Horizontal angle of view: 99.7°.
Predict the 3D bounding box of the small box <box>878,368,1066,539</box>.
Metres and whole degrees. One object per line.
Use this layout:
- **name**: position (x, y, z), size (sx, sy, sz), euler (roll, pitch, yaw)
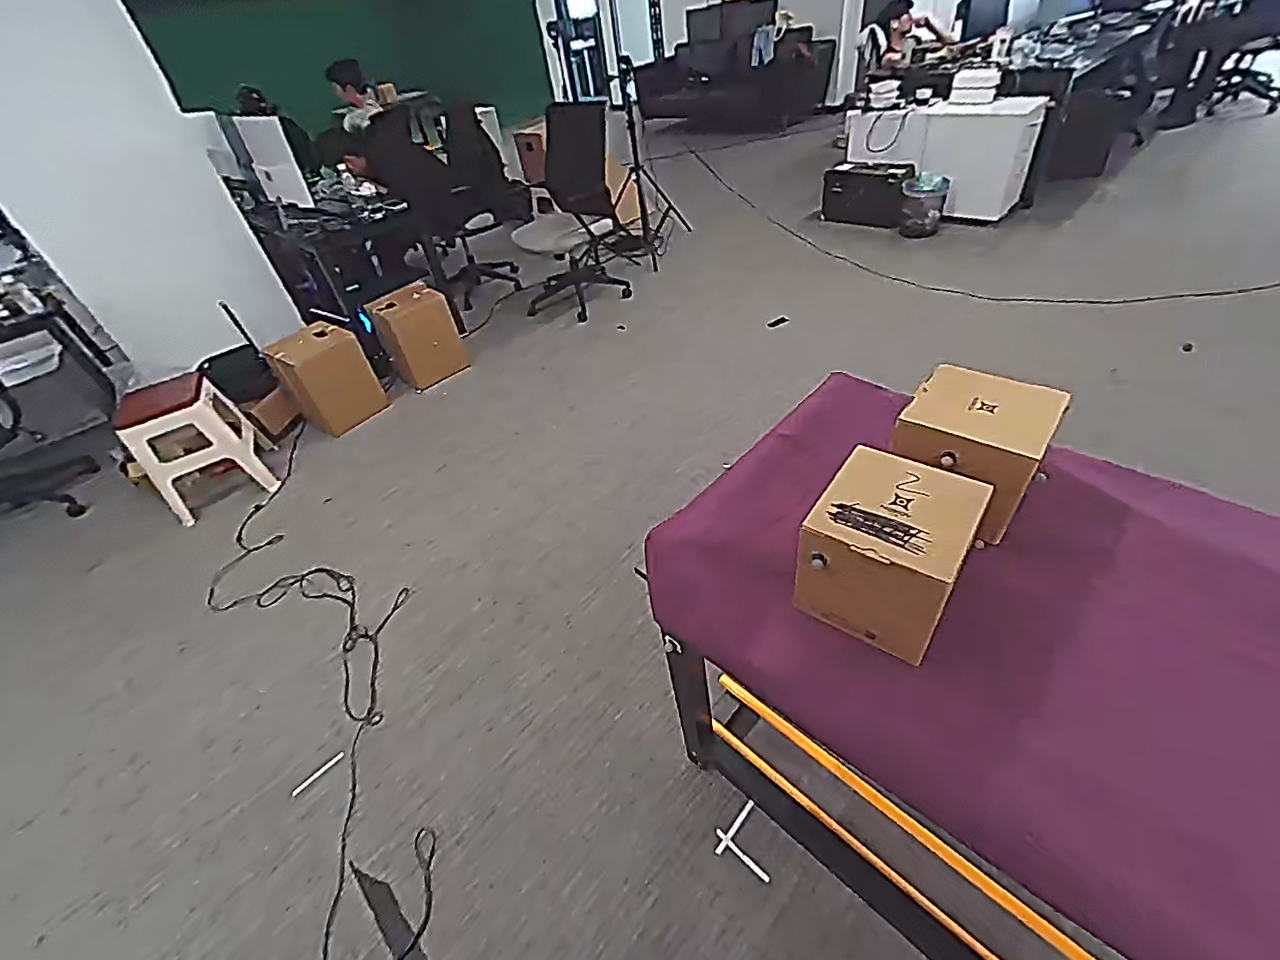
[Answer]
- **small box**: position (0.485, -0.038, 0.809), size (0.179, 0.176, 0.168), euler (25, 53, 33)
